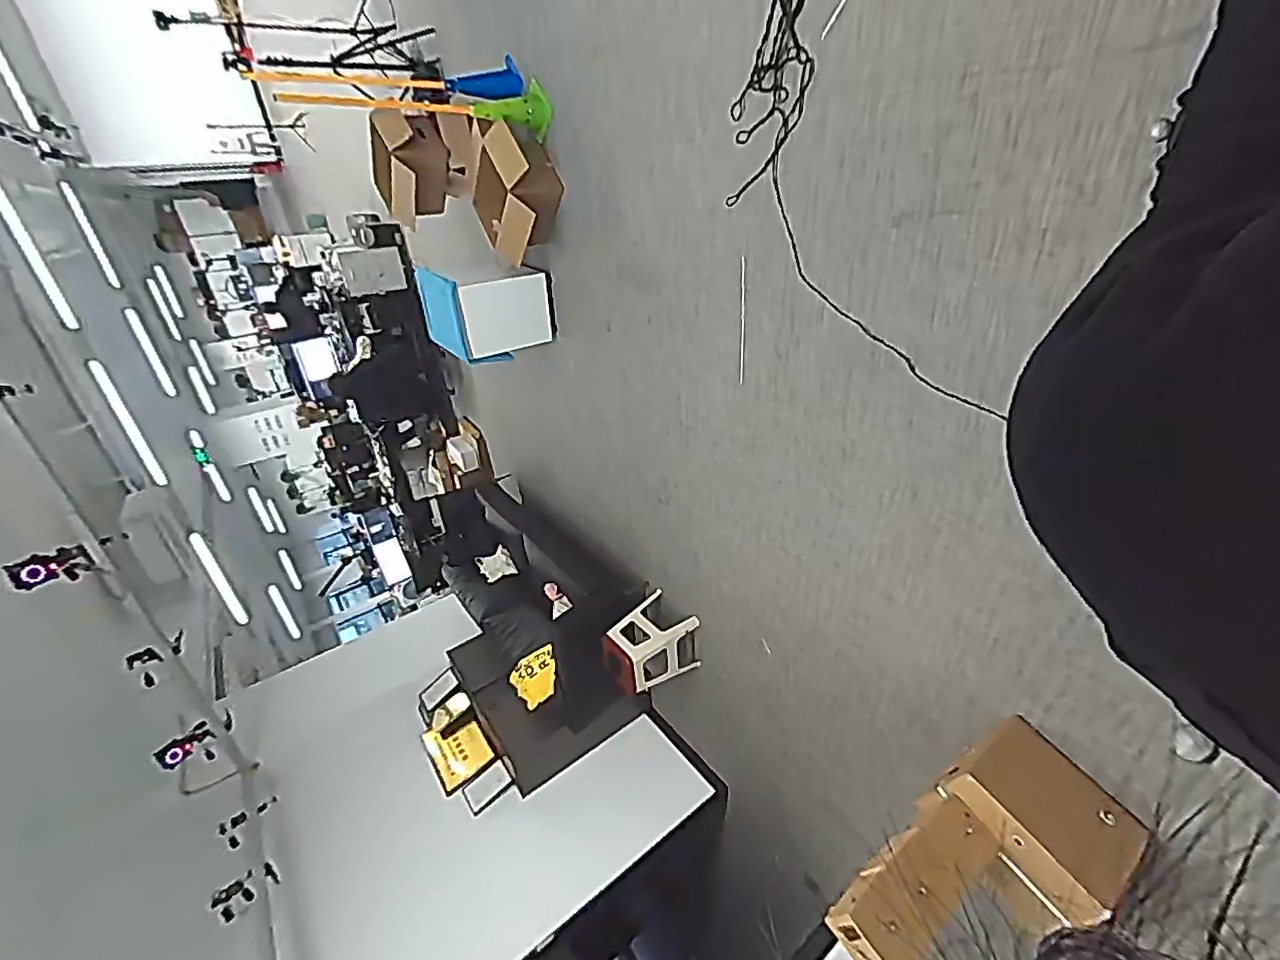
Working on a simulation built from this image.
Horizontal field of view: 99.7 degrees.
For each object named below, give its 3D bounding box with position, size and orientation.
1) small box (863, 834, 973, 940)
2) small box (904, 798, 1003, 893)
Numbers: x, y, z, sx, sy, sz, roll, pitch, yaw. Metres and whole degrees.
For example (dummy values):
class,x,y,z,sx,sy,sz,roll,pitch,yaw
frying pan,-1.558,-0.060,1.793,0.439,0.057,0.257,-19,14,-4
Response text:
class,x,y,z,sx,sy,sz,roll,pitch,yaw
small box,0.769,1.119,1.498,0.179,0.176,0.168,48,147,30
small box,0.904,1.068,1.571,0.168,0.176,0.179,47,146,31
